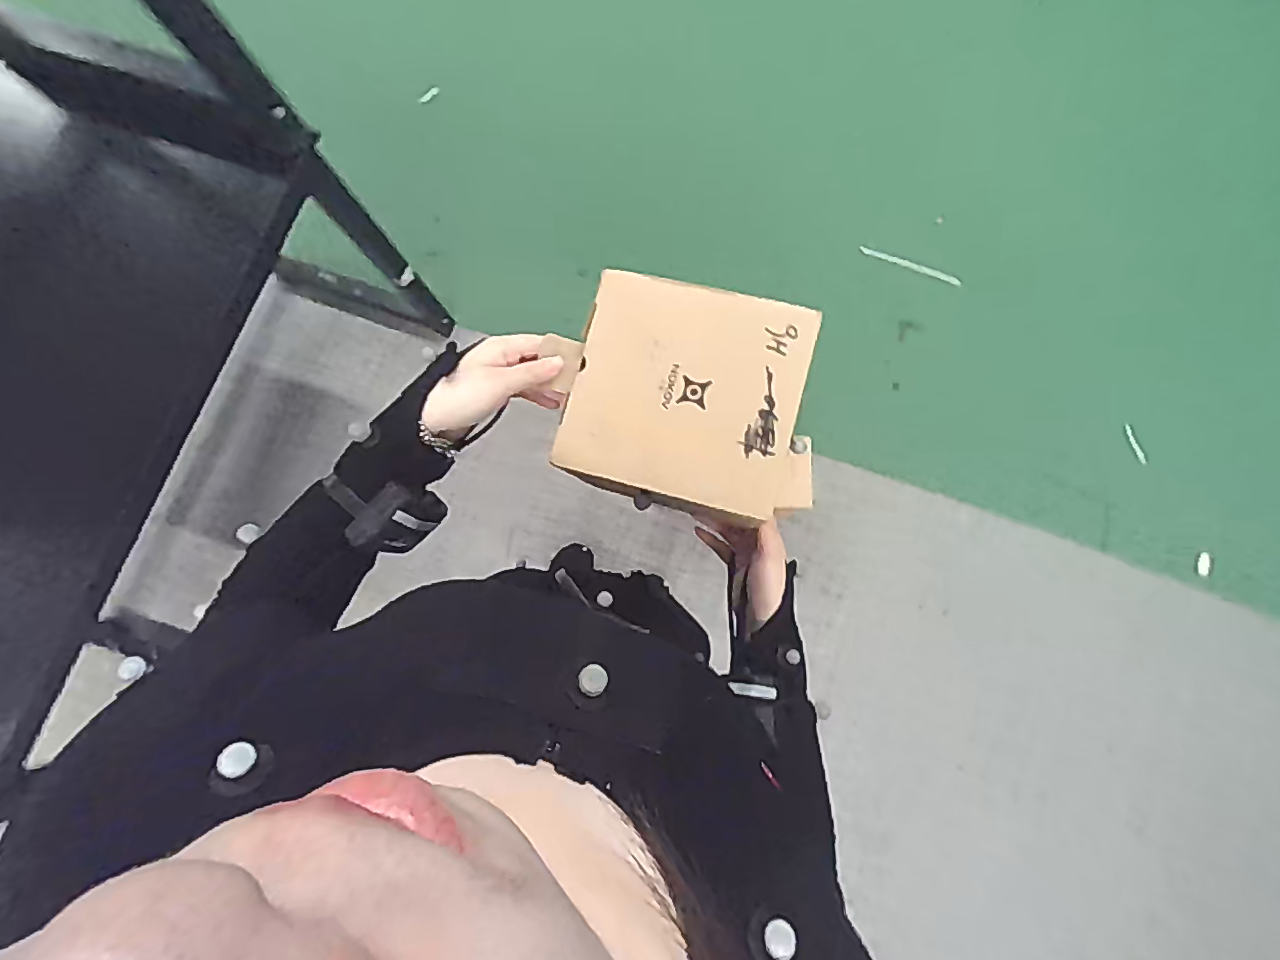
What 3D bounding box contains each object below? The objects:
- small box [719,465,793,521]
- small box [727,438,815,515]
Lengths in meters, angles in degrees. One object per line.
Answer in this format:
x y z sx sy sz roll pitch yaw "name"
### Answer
0.318 0.012 1.453 0.179 0.176 0.168 14 83 2 "small box"
0.306 -0.003 1.292 0.179 0.176 0.168 1 84 0 "small box"
